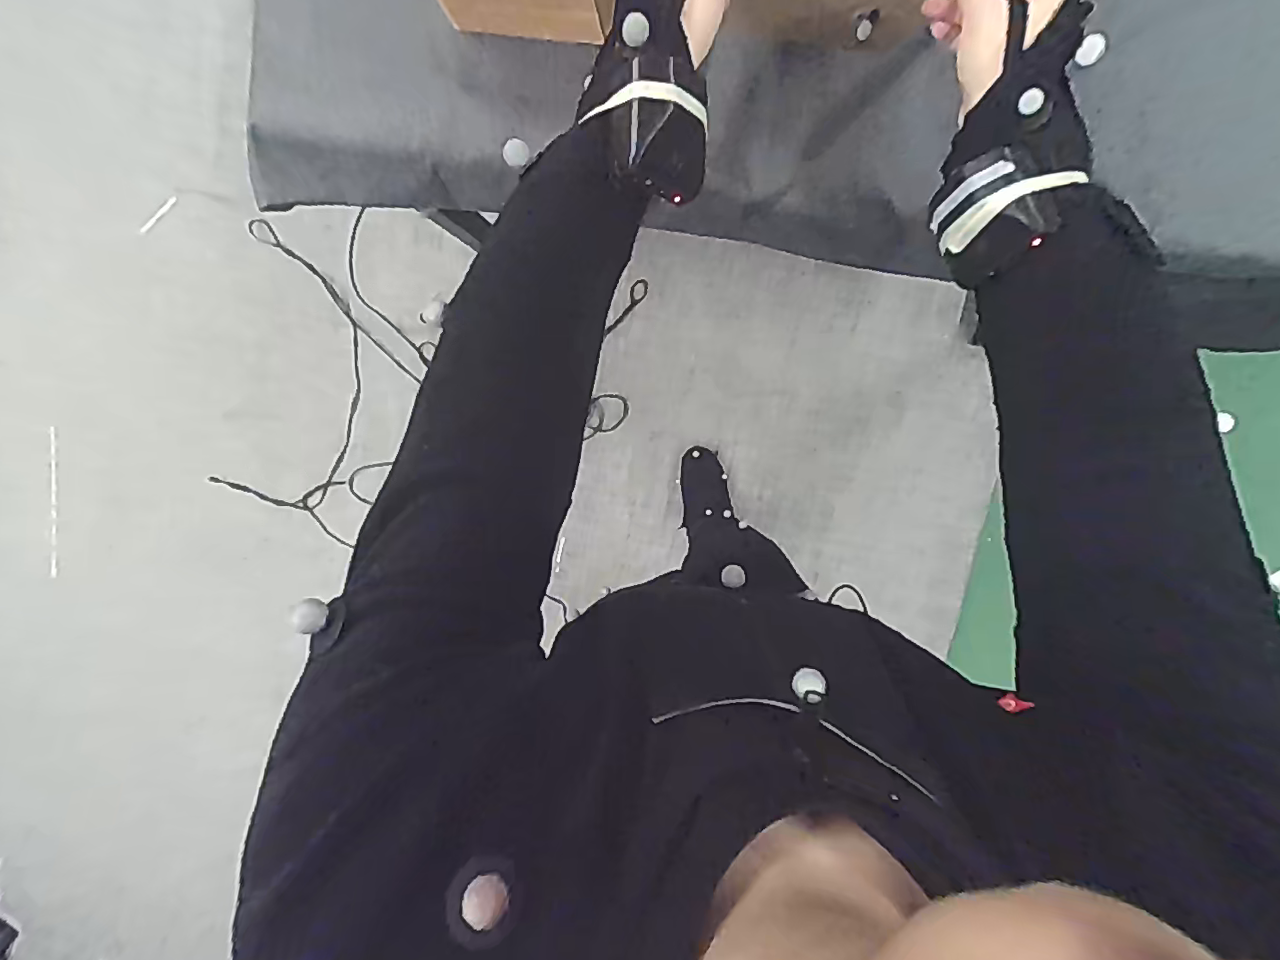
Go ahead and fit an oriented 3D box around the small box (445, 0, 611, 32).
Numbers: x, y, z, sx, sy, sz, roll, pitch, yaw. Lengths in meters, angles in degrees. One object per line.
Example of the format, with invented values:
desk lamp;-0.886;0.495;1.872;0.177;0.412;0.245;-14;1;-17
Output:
small box;-0.117;-0.550;0.486;0.179;0.176;0.168;10;98;5

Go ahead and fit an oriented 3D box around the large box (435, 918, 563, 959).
large box;-0.414;1.508;1.460;0.408;0.320;0.320;18;98;7
